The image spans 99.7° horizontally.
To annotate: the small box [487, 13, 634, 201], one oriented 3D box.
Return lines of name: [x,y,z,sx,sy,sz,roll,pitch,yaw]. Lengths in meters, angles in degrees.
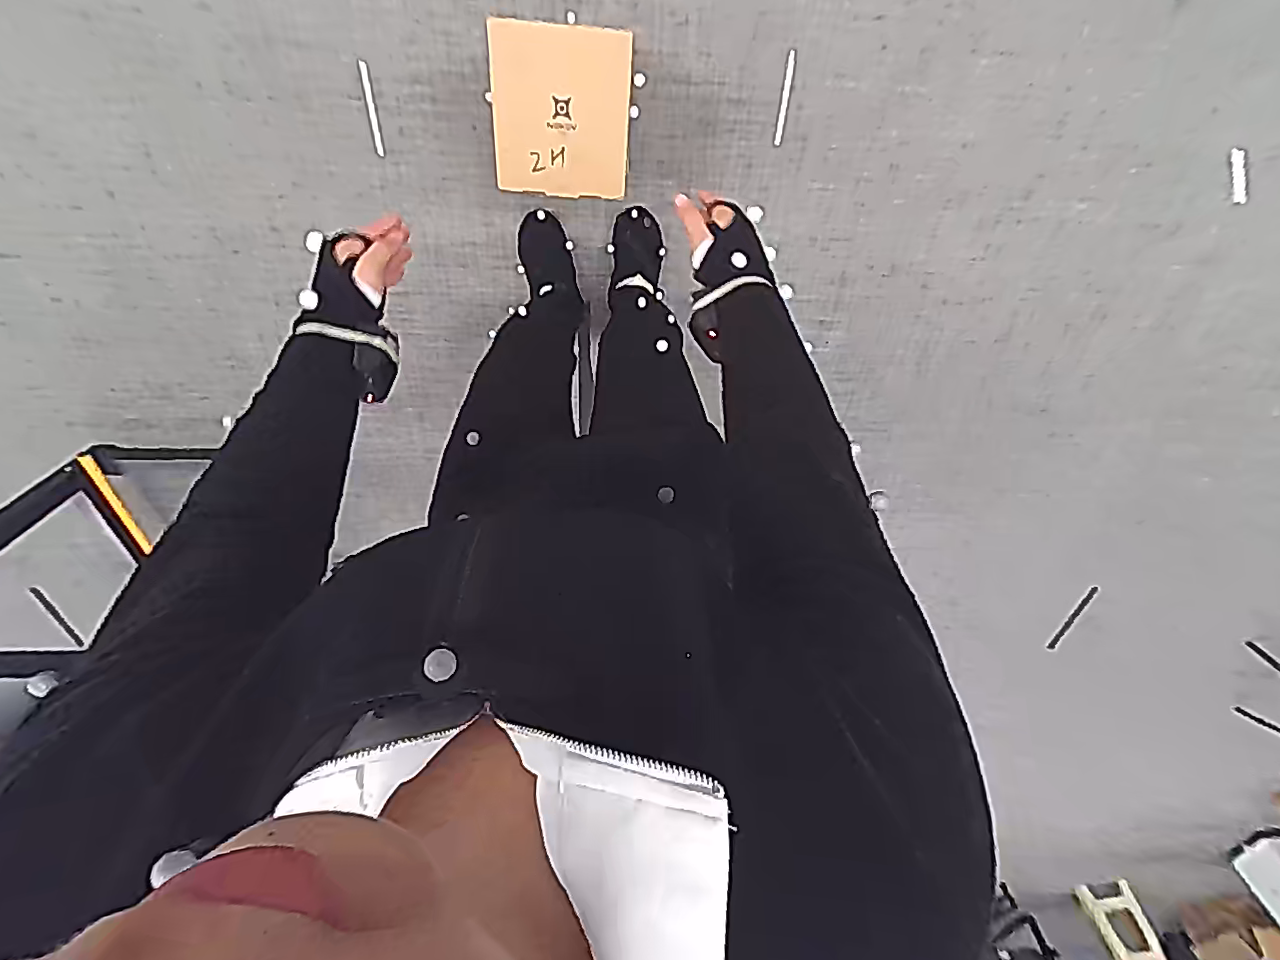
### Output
small box: [-0.099,-0.485,0.711,0.168,0.176,0.179,3,127,-4]
